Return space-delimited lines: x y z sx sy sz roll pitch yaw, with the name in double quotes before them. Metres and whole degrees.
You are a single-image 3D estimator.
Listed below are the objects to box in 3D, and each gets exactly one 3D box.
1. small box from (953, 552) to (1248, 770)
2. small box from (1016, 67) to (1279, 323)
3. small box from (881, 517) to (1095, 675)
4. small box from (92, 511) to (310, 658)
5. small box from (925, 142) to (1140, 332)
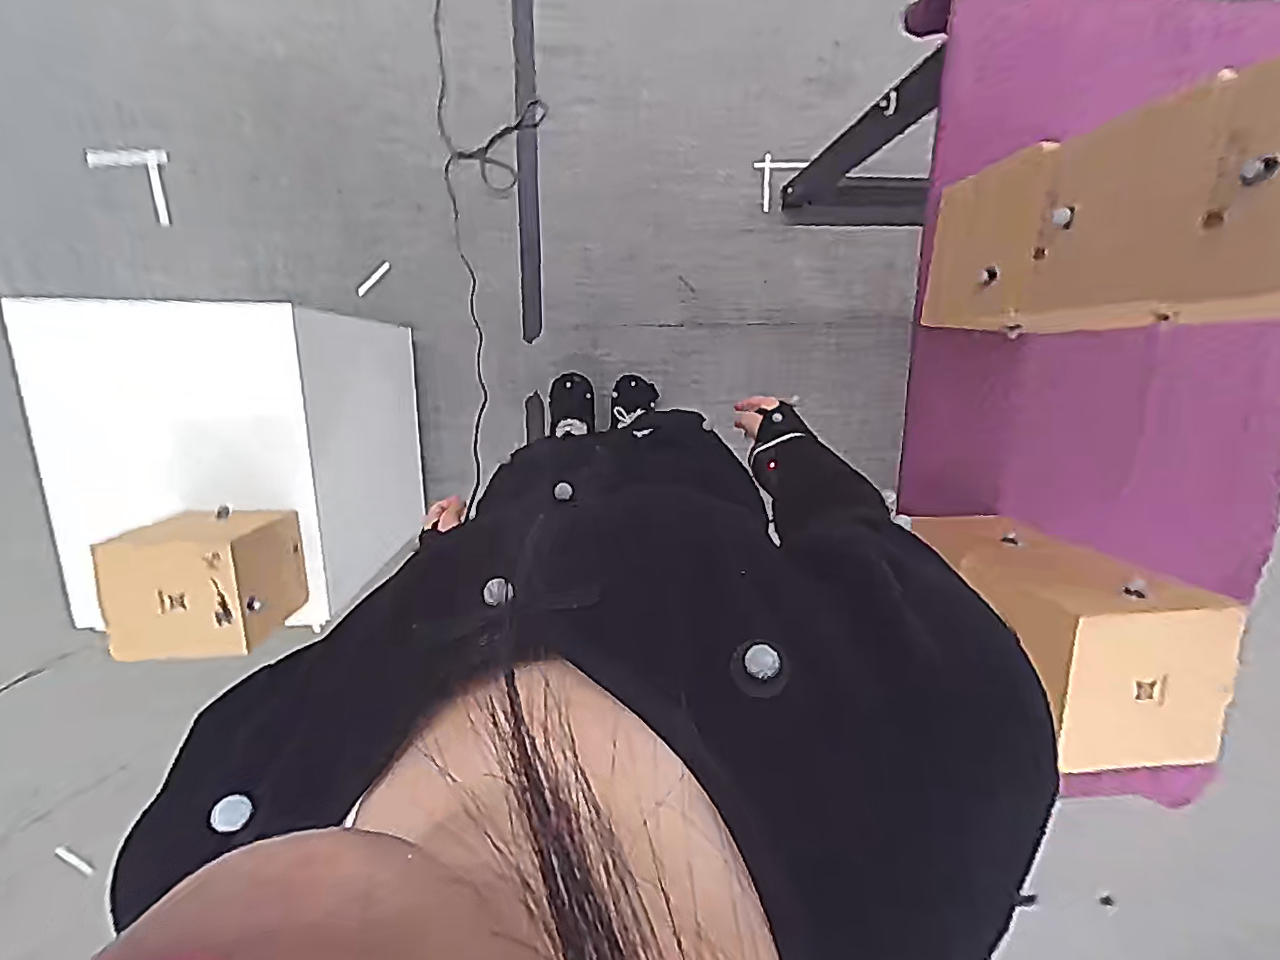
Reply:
"small box" 0.478 0.183 0.592 0.179 0.176 0.168 -2 101 -5
"small box" 0.503 -0.239 0.500 0.179 0.176 0.168 2 102 -5
"small box" 0.467 0.150 0.751 0.179 0.176 0.168 -1 101 -4
"small box" -0.624 0.144 0.793 0.179 0.176 0.168 -1 102 -4
"small box" 0.480 -0.277 0.659 0.168 0.176 0.179 2 102 -6
